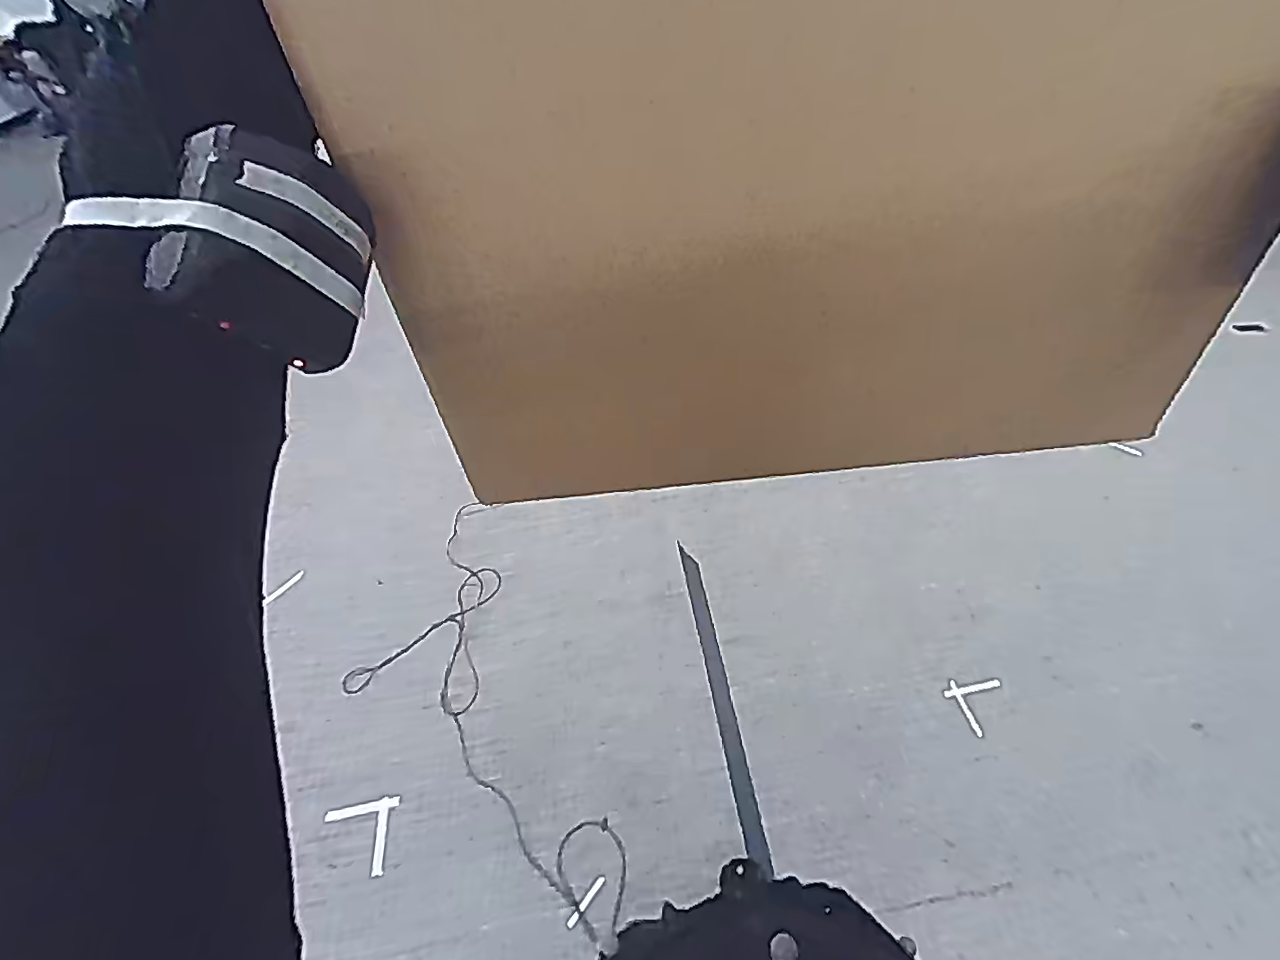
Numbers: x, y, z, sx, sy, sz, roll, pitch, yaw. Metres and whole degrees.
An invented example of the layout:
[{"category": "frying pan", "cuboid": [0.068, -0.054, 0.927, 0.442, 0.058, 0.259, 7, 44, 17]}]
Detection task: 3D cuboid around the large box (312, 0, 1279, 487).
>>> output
[{"category": "large box", "cuboid": [0.076, -0.223, 0.358, 0.408, 0.320, 0.320, -6, 41, 2]}]
